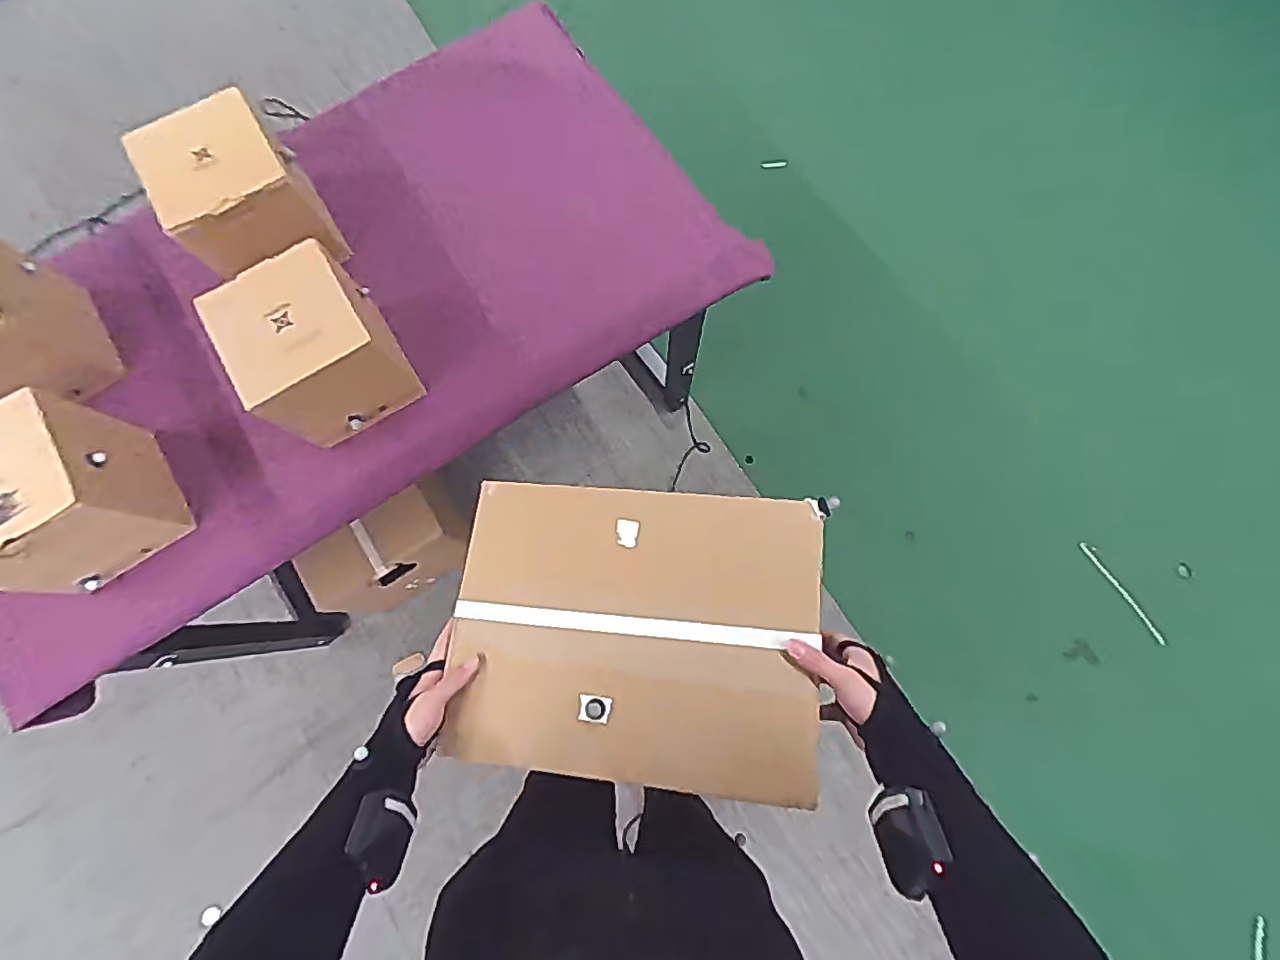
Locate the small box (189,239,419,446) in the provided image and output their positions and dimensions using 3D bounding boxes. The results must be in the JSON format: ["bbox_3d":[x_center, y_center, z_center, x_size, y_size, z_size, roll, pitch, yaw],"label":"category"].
[{"bbox_3d":[-0.434,-0.172,0.724,0.168,0.176,0.179,-32,78,-6],"label":"small box"}]

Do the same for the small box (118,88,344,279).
[{"bbox_3d":[-0.574,-0.402,0.782,0.168,0.176,0.179,-31,79,-7],"label":"small box"}]

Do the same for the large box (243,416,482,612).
[{"bbox_3d":[-0.663,0.077,1.348,0.320,0.320,0.408,-33,78,-8],"label":"large box"}]

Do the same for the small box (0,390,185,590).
[{"bbox_3d":[-0.735,0.025,0.679,0.168,0.176,0.179,-34,77,-8],"label":"small box"}]
